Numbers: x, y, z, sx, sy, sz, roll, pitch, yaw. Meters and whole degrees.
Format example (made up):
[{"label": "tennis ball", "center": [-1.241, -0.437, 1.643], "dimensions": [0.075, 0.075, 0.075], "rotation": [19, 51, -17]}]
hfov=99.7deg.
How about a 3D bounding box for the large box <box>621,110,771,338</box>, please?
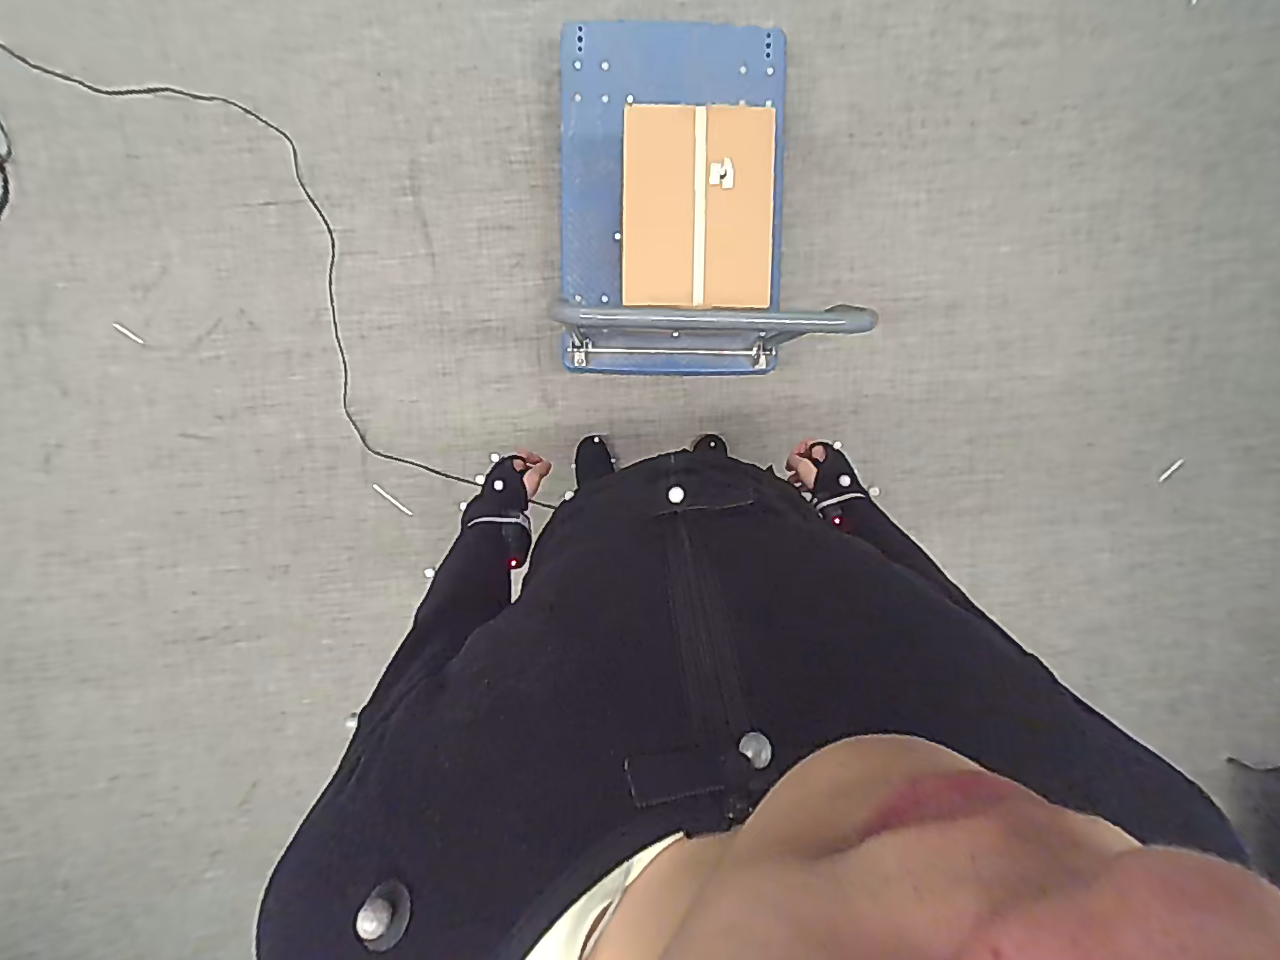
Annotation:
[{"label": "large box", "center": [0.113, -0.565, 1.268], "dimensions": [0.320, 0.320, 0.408], "rotation": [0, 93, -3]}]
